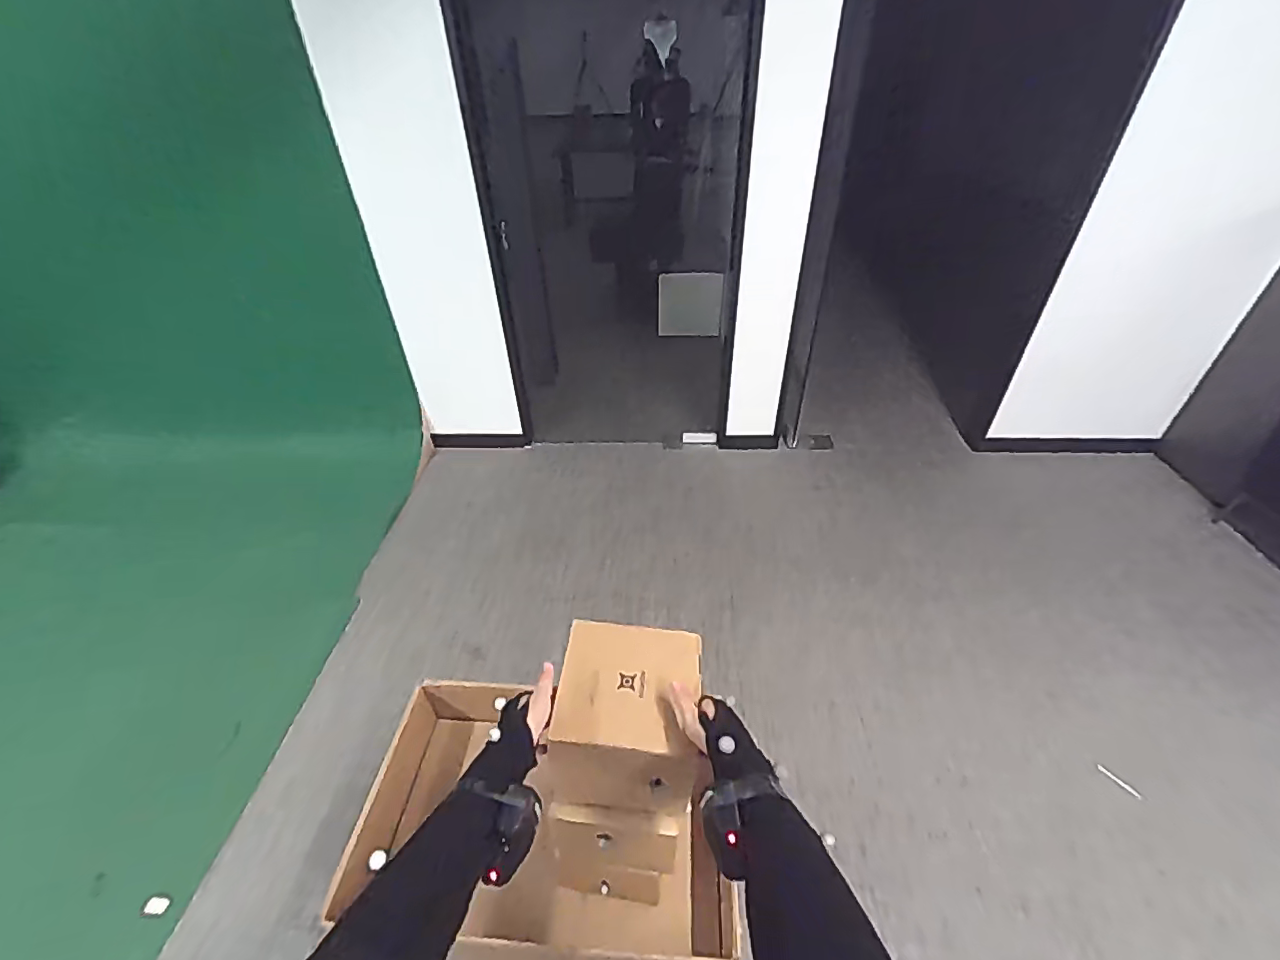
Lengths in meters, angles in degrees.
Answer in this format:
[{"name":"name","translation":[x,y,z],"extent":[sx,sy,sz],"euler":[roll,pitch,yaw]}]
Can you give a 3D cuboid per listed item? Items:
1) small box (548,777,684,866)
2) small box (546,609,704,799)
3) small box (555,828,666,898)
[{"name":"small box","translation":[-0.023,0.450,0.811],"extent":[0.179,0.176,0.168],"euler":[5,40,7]},{"name":"small box","translation":[-0.015,0.295,0.710],"extent":[0.179,0.176,0.168],"euler":[5,39,3]},{"name":"small box","translation":[-0.033,0.575,0.918],"extent":[0.168,0.176,0.179],"euler":[5,40,8]}]
